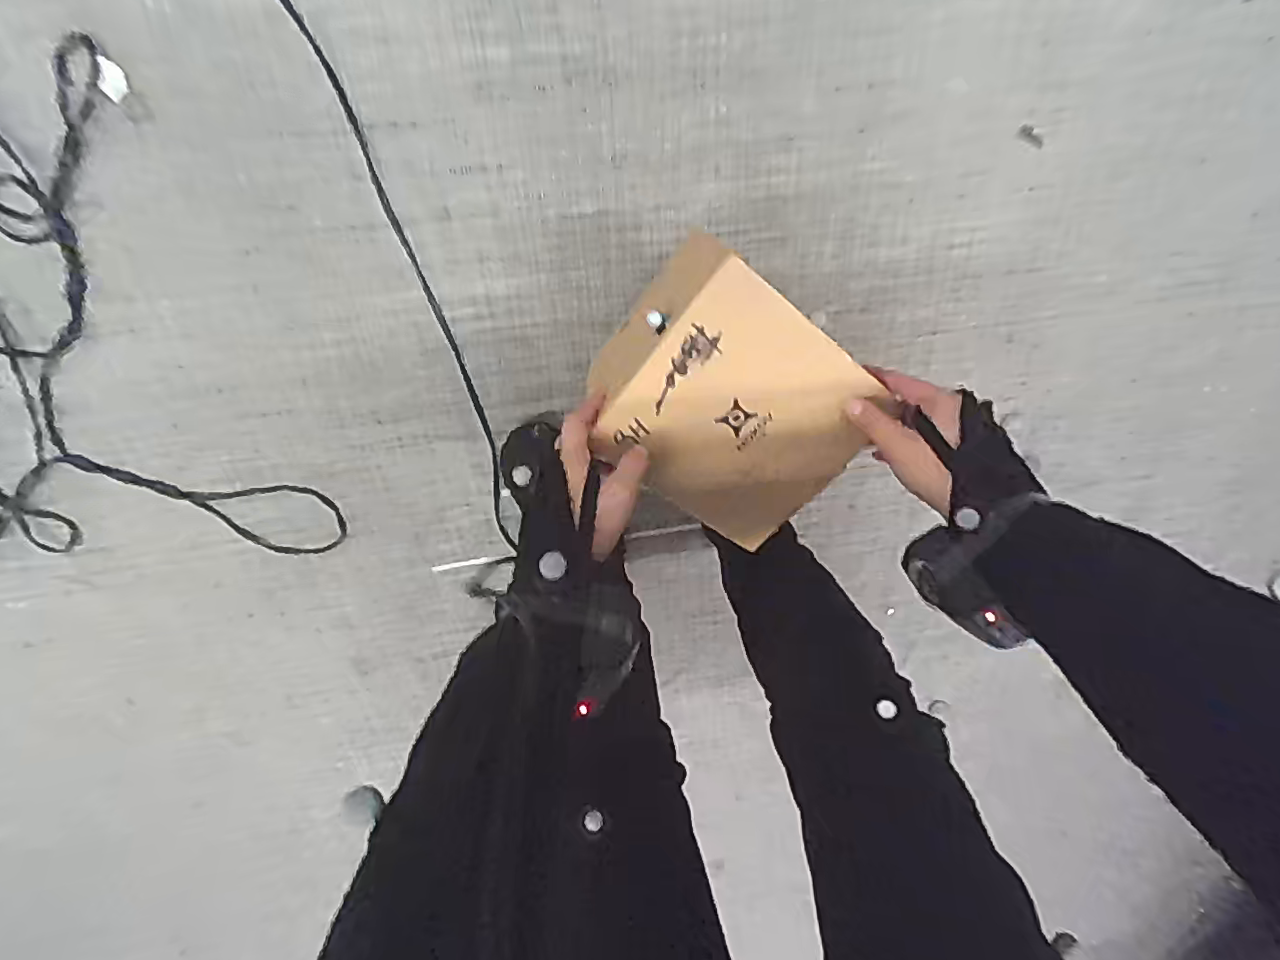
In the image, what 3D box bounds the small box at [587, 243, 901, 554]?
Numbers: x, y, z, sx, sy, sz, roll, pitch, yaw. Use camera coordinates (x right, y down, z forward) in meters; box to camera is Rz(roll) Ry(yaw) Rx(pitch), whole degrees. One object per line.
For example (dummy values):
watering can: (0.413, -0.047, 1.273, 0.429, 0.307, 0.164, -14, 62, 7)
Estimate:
small box: (0.072, -0.076, 0.462, 0.179, 0.176, 0.168, 33, 113, -22)
